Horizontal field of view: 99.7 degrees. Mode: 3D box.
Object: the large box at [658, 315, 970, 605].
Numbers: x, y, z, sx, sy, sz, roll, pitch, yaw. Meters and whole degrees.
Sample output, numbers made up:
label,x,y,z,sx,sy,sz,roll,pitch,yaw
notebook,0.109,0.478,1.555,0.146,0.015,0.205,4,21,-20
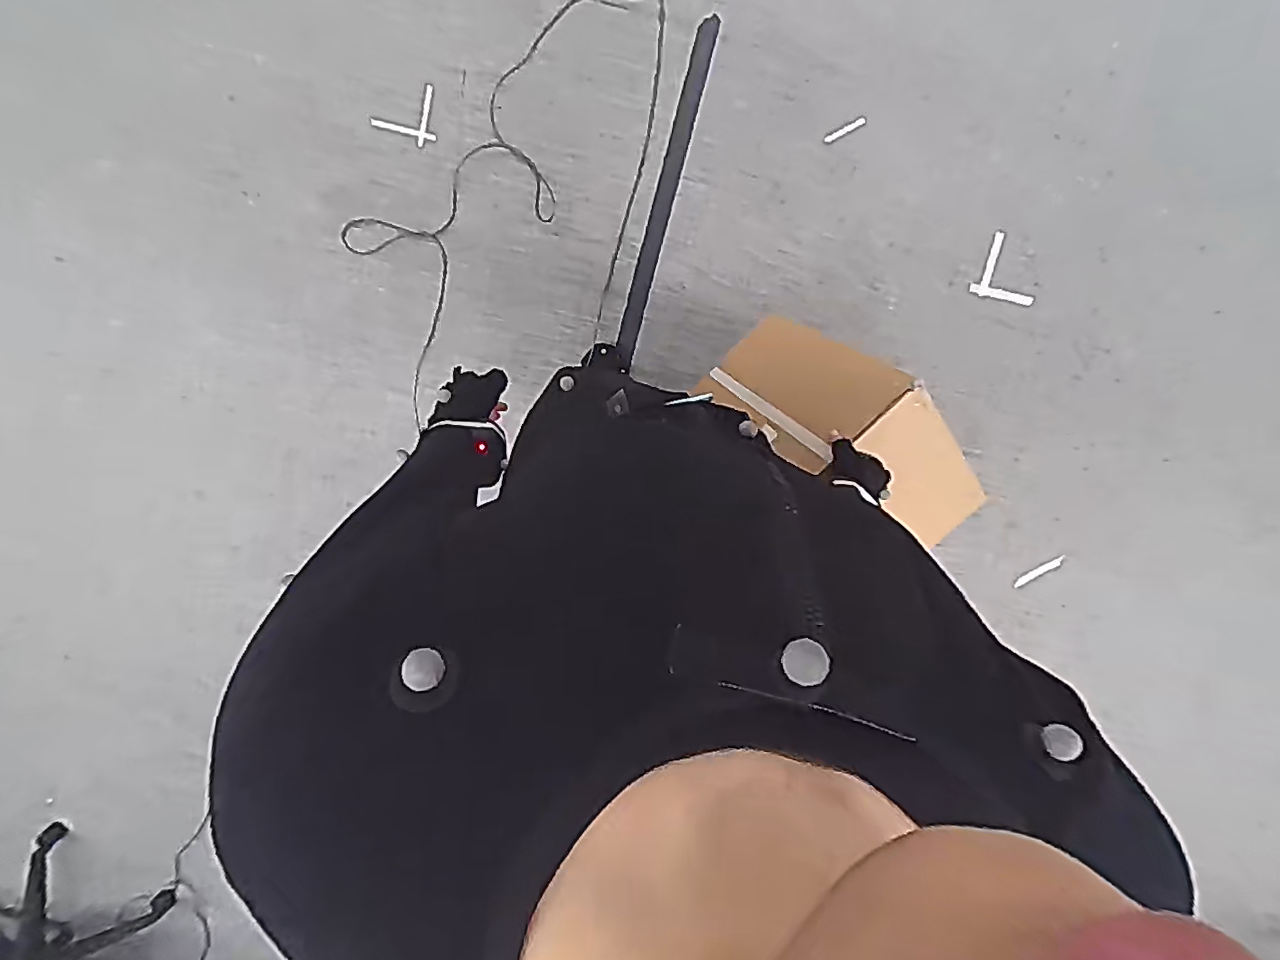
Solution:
label,x,y,z,sx,sy,sz,roll,pitch,yaw
large box,0.301,-0.050,1.010,0.320,0.408,0.320,-46,125,8
